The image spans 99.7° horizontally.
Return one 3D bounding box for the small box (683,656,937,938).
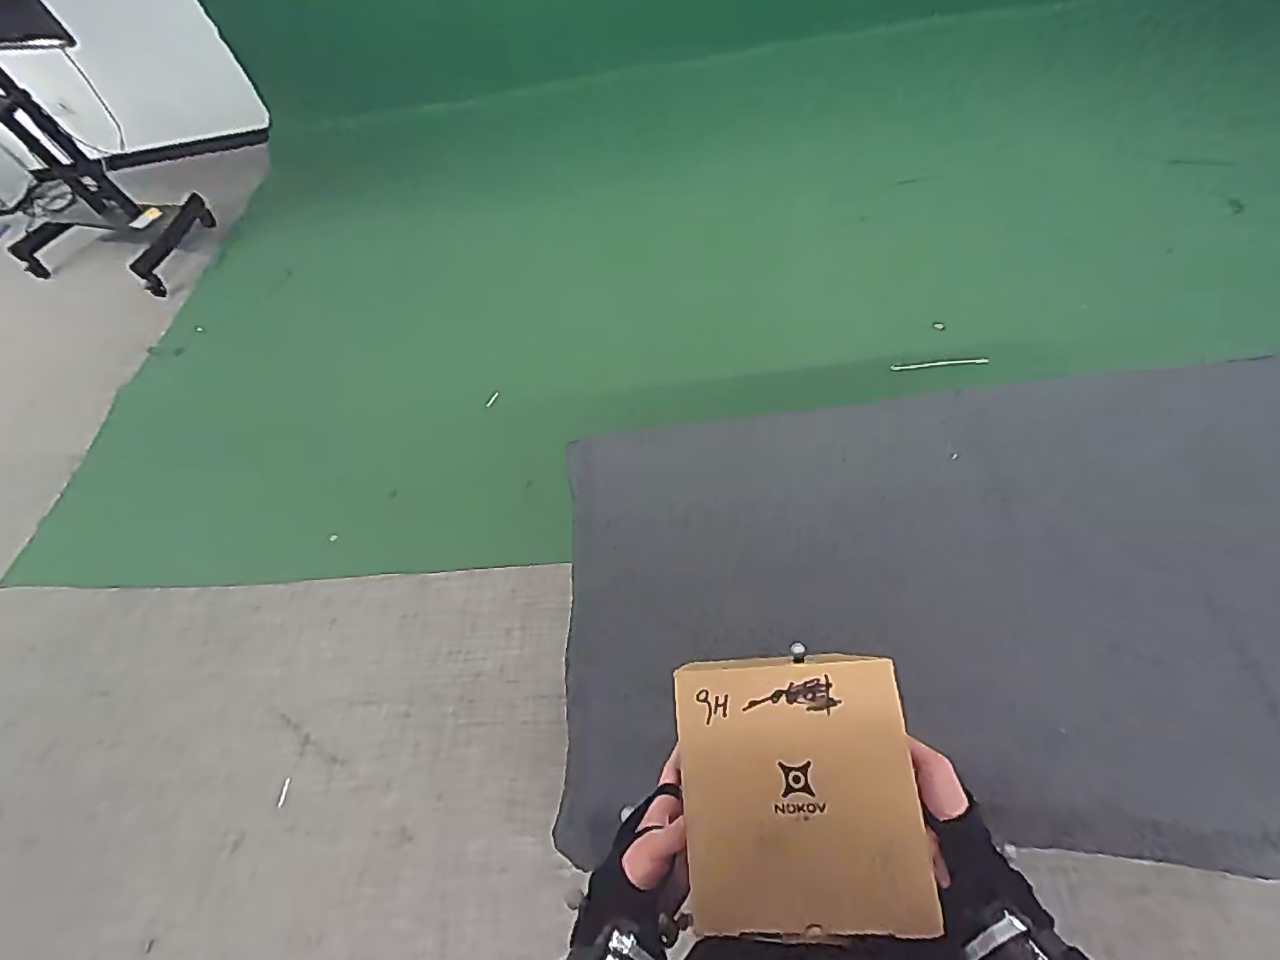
[{"bbox_3d":[0.130,0.254,0.475,0.168,0.176,0.179,-5,74,7],"label":"small box"}]
